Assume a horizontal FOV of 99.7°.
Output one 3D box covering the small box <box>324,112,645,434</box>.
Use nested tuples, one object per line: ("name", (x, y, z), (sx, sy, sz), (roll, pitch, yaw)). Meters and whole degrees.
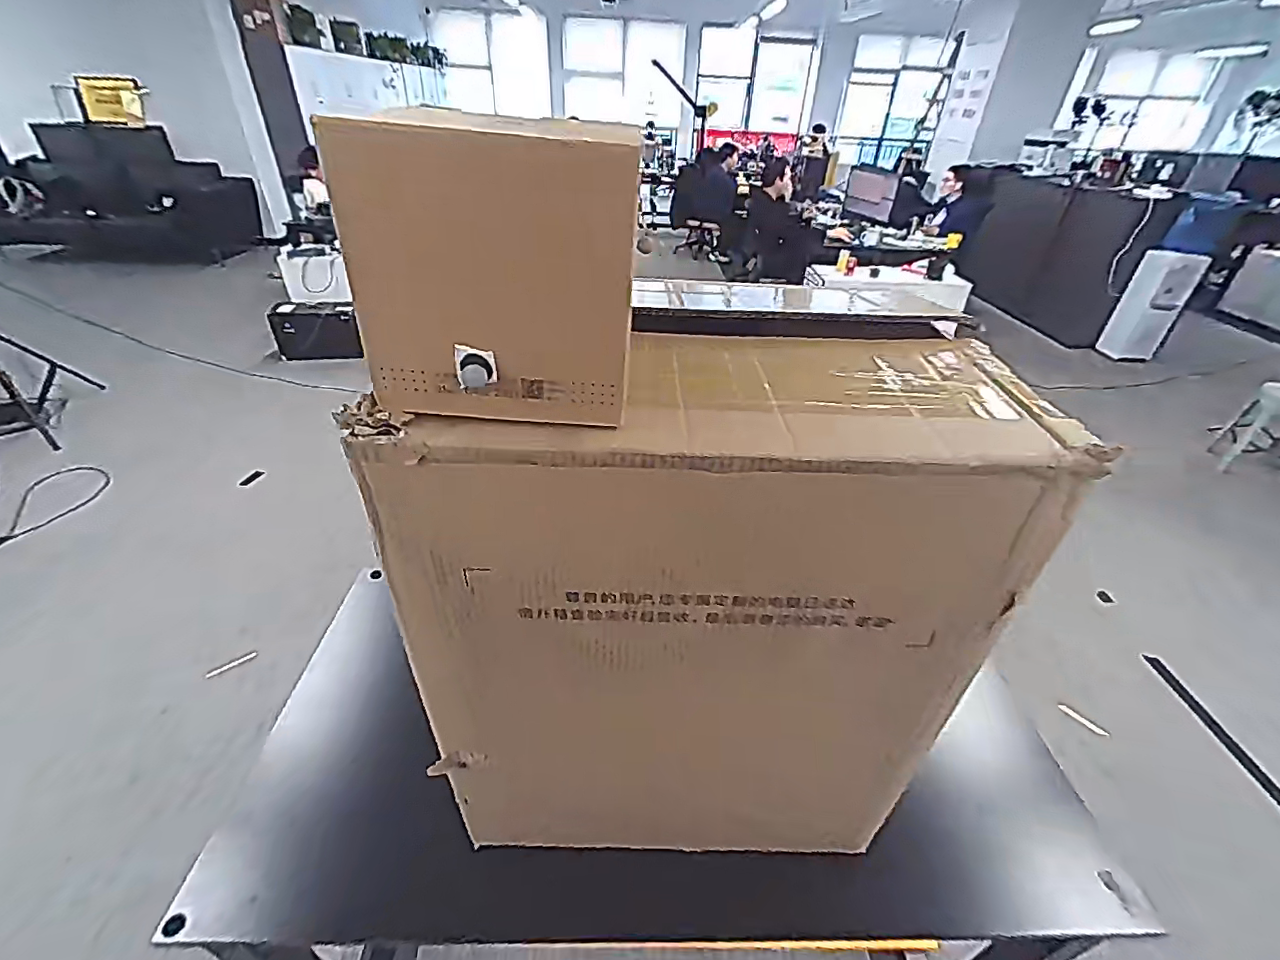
("small box", (-0.086, -0.151, 0.386), (0.168, 0.176, 0.179), (2, 36, -3))
